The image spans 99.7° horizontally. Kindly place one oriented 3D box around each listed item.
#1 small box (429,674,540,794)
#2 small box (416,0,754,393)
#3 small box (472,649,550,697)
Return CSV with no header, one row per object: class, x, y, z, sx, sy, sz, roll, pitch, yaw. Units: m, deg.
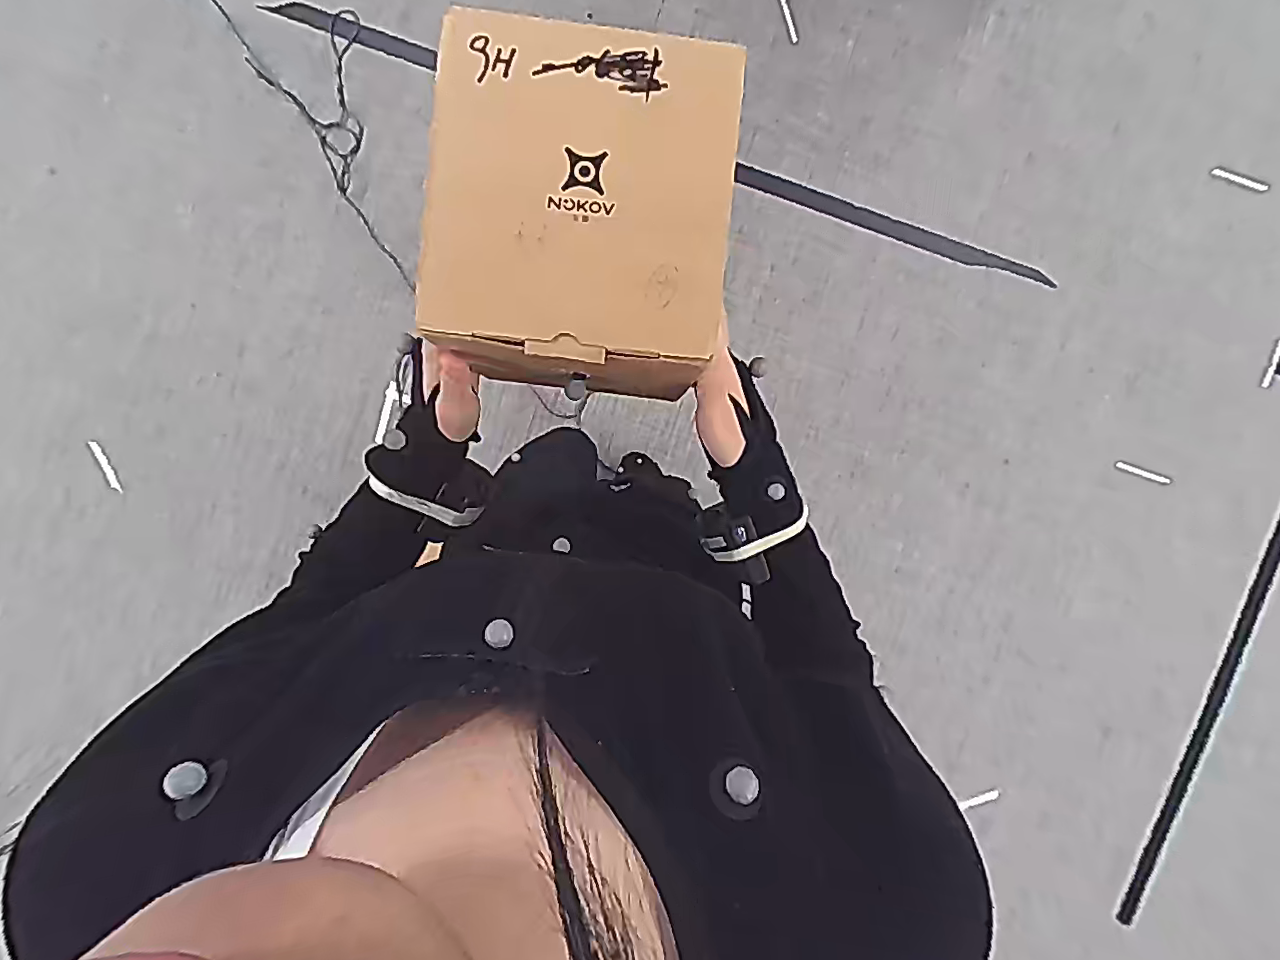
small box,-0.350,0.576,1.252,0.179,0.176,0.168,21,93,-3
small box,-0.032,-0.160,0.366,0.168,0.176,0.179,6,92,-3
small box,-0.353,0.564,1.416,0.179,0.176,0.168,20,93,-3
